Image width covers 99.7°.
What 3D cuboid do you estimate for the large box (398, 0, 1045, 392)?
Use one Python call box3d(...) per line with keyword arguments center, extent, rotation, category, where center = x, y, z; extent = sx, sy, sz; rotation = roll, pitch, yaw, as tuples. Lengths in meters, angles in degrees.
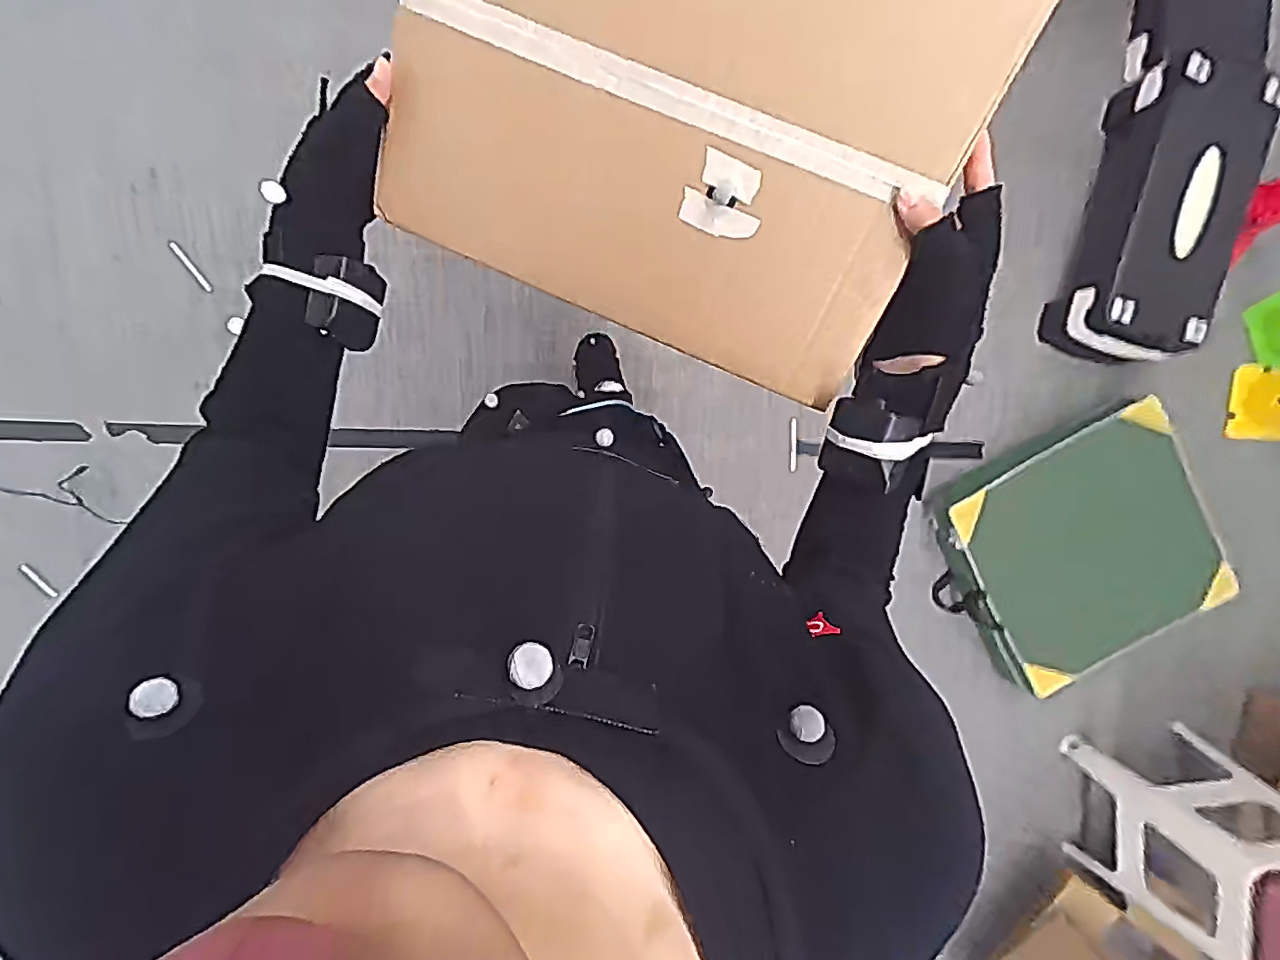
box3d(center=(0.054, -0.329, 0.521), extent=(0.408, 0.320, 0.320), rotation=(24, 116, 3), category="large box")
